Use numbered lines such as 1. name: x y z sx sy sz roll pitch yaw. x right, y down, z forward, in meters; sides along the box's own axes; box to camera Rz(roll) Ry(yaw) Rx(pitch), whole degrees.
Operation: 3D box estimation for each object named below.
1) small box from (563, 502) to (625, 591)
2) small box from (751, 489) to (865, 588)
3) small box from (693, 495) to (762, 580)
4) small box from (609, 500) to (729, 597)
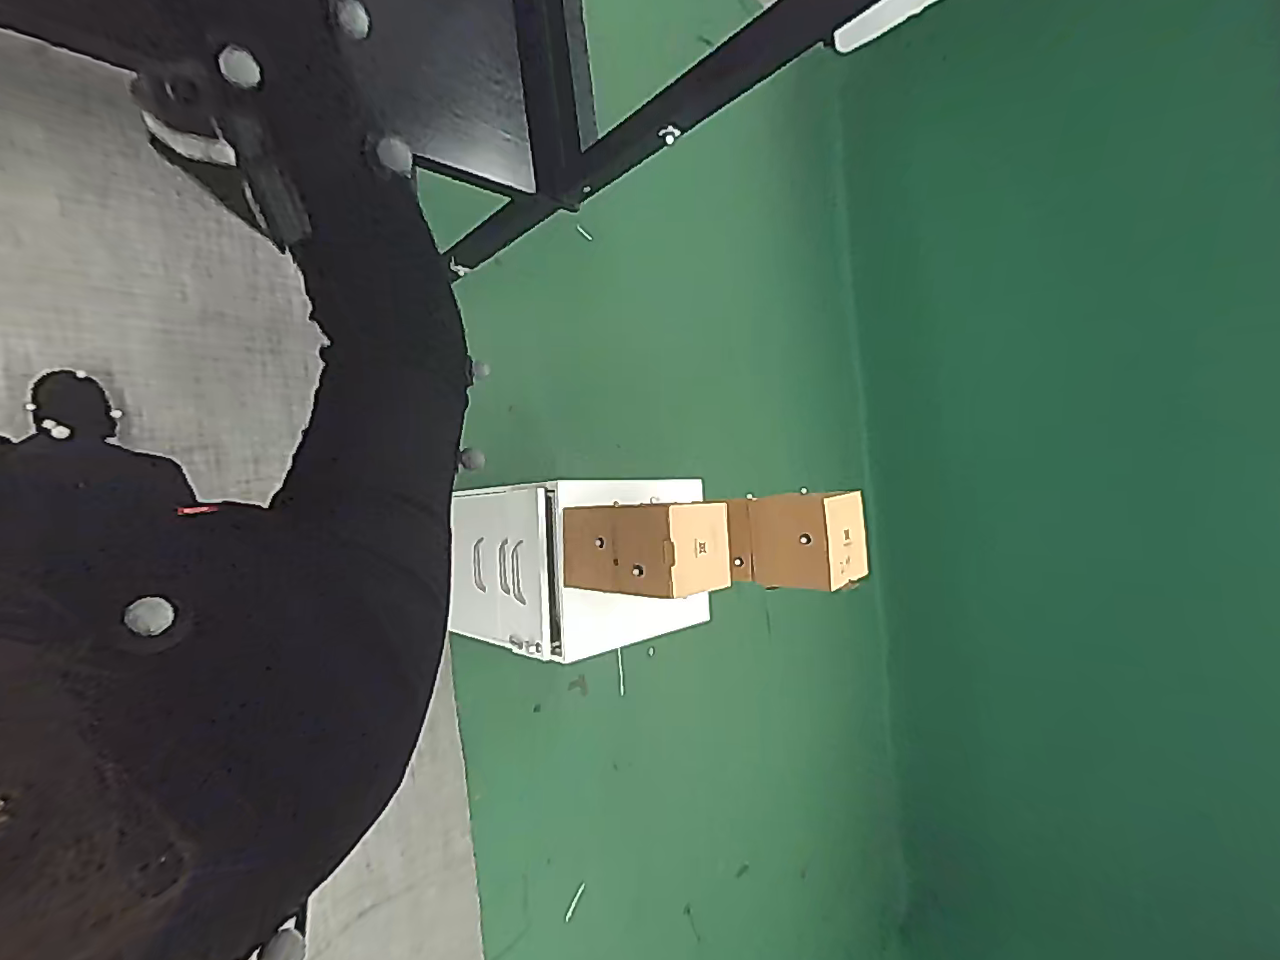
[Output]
1. small box: -0.052 0.139 1.166 0.168 0.176 0.179 3 85 -46
2. small box: 0.339 0.113 1.102 0.168 0.176 0.179 -6 92 -45
3. small box: 0.226 0.126 1.221 0.168 0.176 0.179 4 85 -46
4. small box: 0.051 0.125 1.041 0.179 0.176 0.168 -1 89 -47
